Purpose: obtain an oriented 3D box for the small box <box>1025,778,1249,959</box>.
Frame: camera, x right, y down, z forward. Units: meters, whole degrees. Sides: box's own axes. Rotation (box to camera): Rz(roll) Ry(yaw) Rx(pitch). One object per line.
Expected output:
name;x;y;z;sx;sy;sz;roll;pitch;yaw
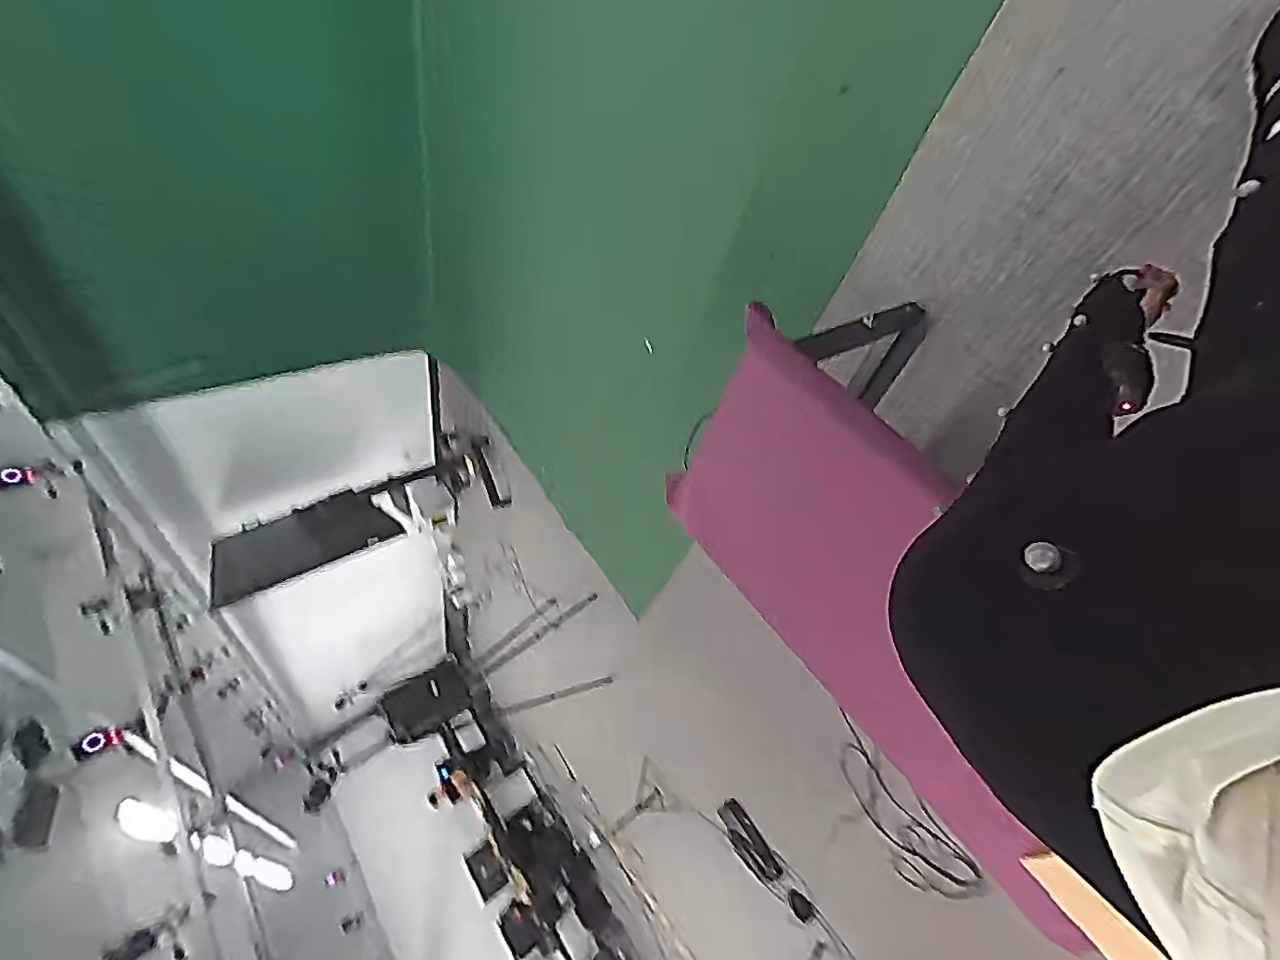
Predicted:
small box;0.747;0.591;0.817;0.168;0.176;0.179;48;143;26
